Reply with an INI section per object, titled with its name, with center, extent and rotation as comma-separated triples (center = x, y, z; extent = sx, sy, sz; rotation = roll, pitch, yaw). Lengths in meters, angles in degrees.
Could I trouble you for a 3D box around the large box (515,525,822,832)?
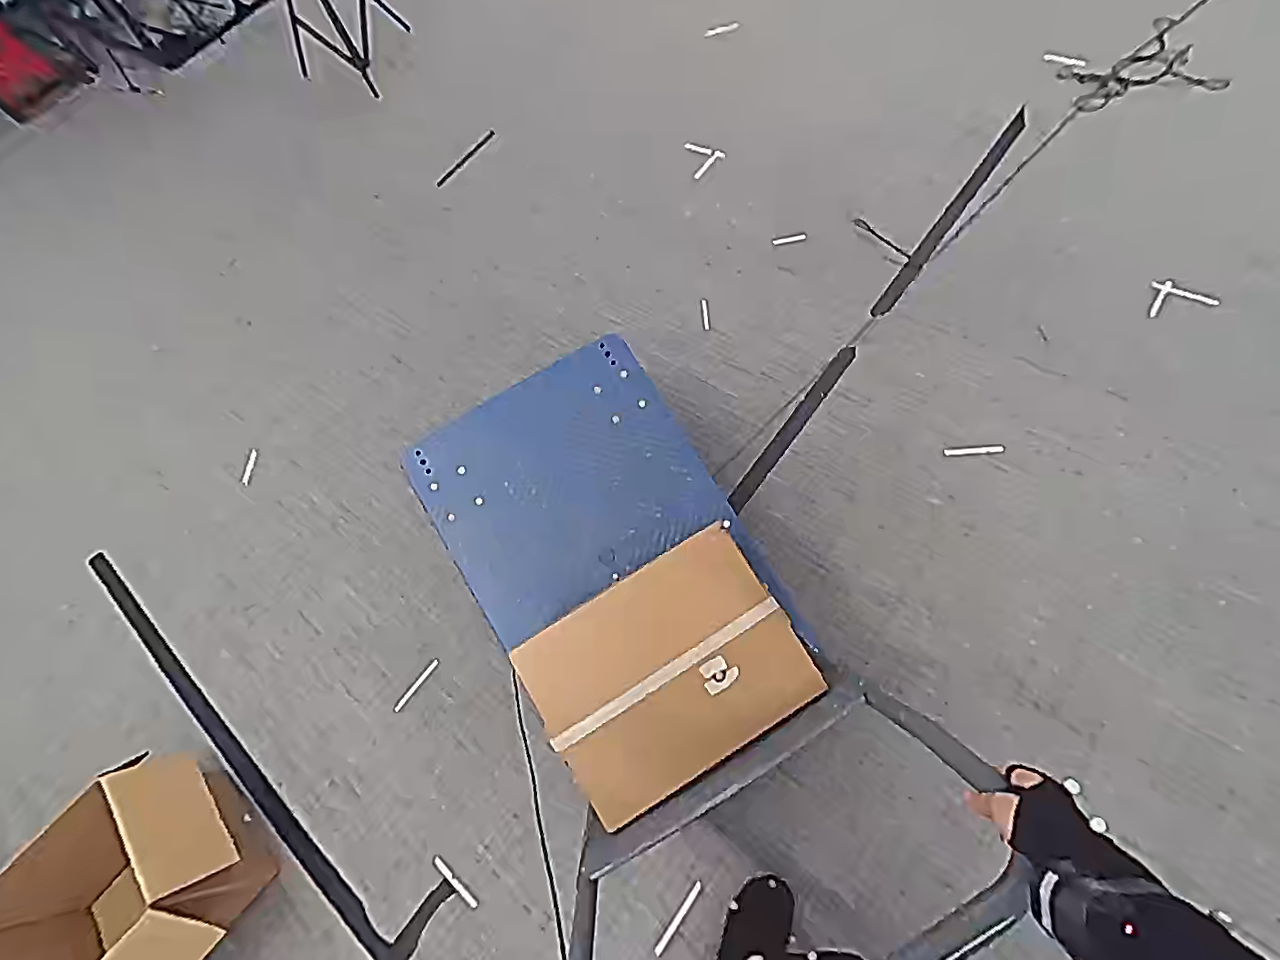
[large box]
center = 0.043, 0.330, 1.002
extent = 0.408, 0.320, 0.320
rotation = -32, 83, -5
